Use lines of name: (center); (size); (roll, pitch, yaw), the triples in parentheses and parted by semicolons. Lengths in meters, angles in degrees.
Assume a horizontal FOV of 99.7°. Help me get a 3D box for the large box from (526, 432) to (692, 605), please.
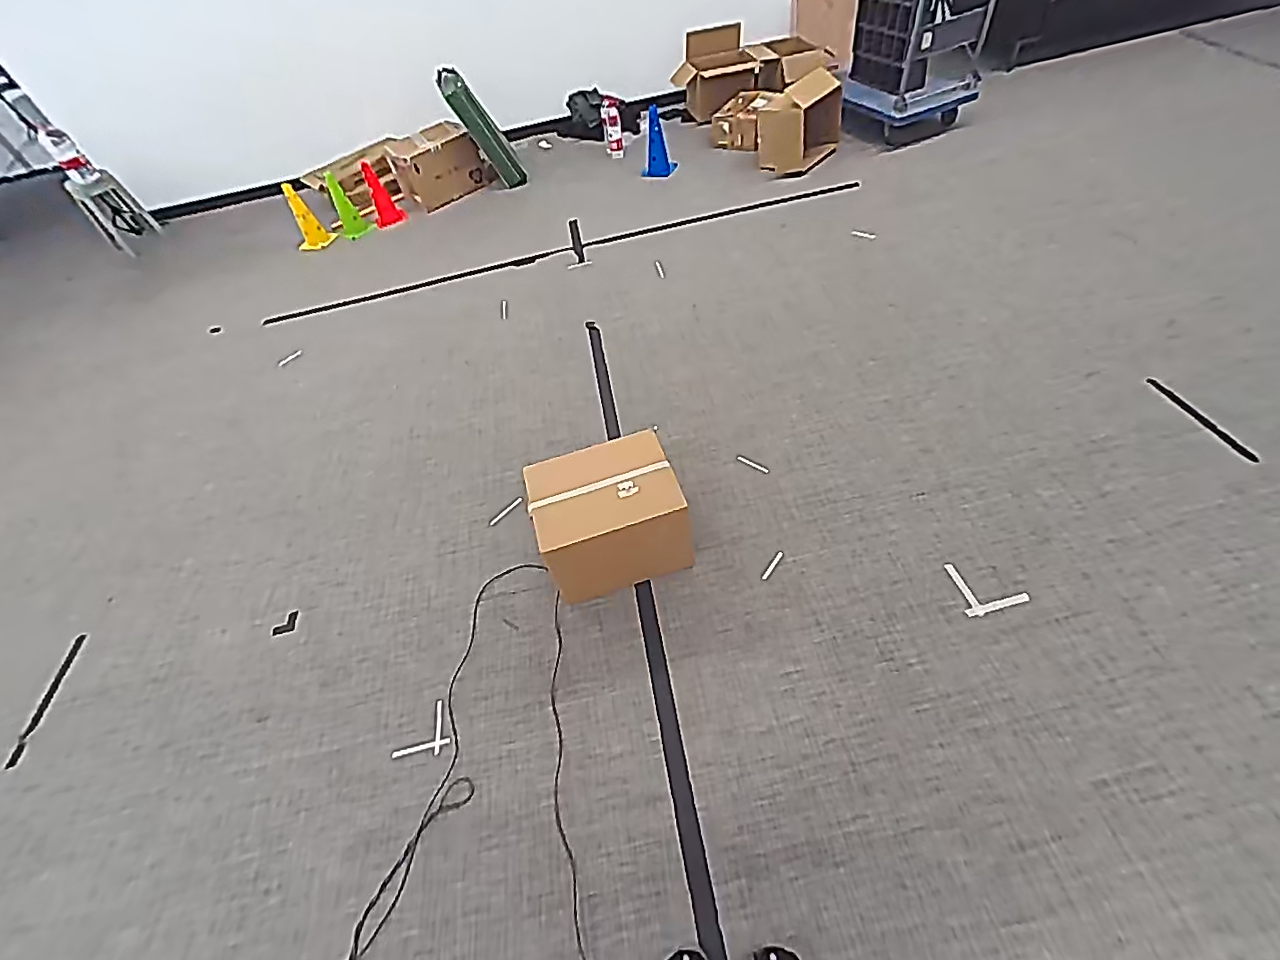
large box: (-0.087, 0.118, 1.608); (0.408, 0.320, 0.320); (-17, 51, -5)
